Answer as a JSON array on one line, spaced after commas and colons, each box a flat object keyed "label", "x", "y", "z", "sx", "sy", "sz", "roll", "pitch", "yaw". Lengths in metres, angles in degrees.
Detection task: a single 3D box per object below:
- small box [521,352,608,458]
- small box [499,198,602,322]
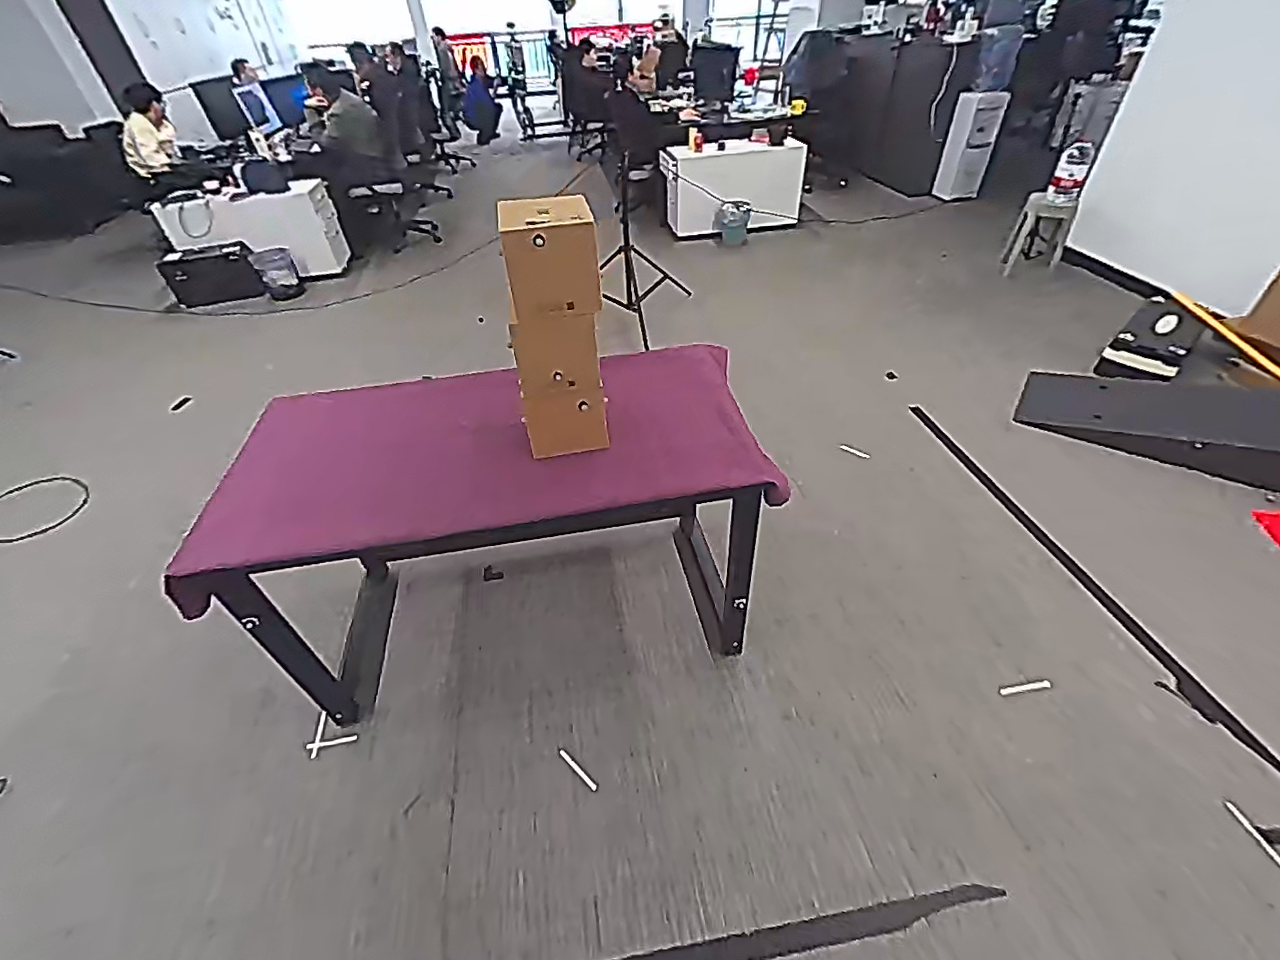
[{"label": "small box", "x": -0.172, "y": -0.172, "z": 1.247, "sx": 0.179, "sy": 0.176, "sz": 0.168, "roll": -10, "pitch": 41, "yaw": -6}, {"label": "small box", "x": -0.169, "y": -0.421, "z": 1.032, "sx": 0.168, "sy": 0.176, "sz": 0.179, "roll": -10, "pitch": 42, "yaw": -6}]
